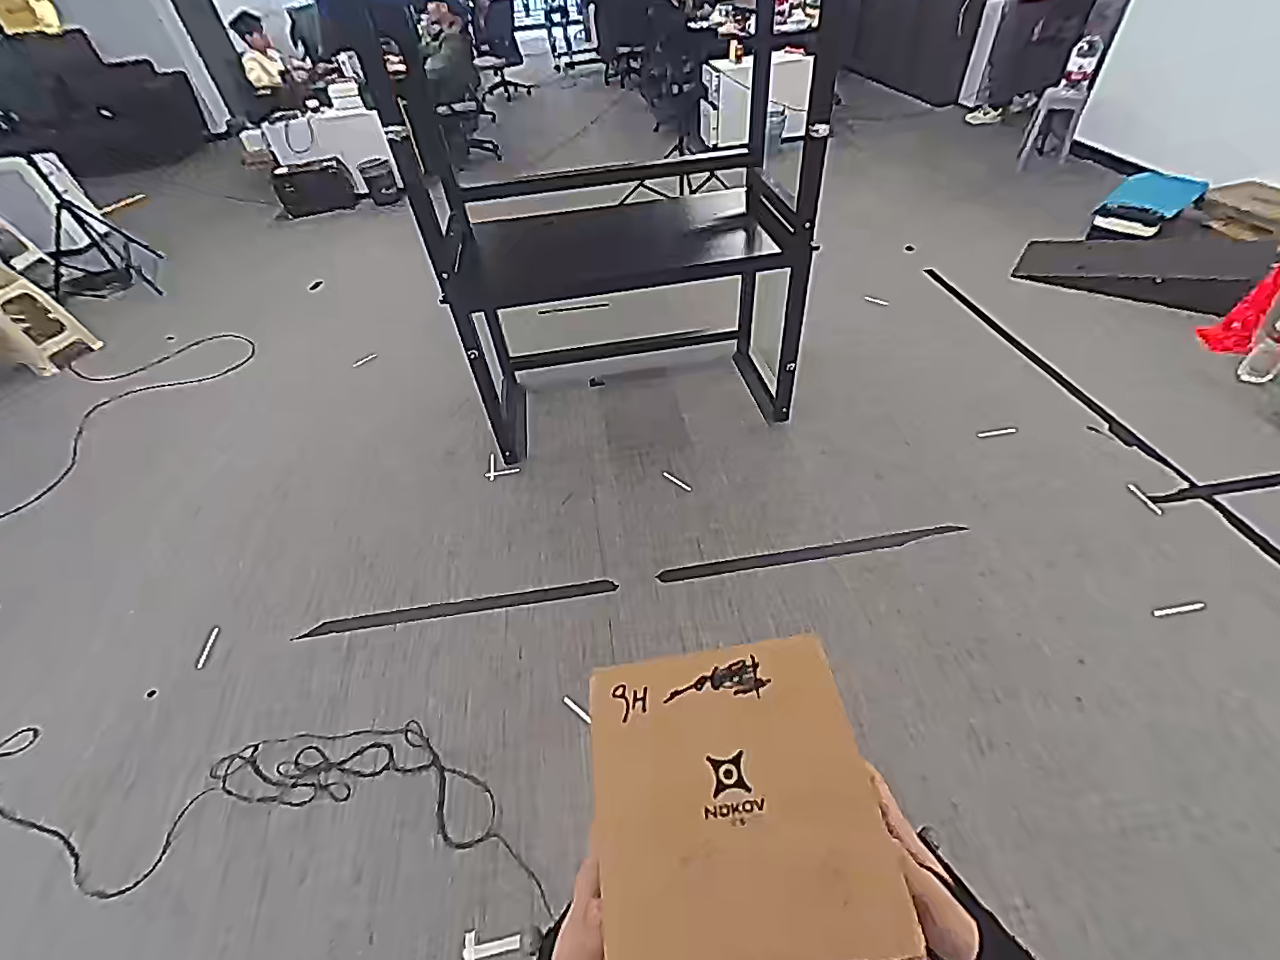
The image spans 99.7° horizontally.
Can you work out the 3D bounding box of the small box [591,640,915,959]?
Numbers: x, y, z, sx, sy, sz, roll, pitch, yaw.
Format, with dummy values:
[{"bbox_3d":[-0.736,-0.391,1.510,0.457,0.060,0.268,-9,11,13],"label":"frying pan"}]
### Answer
[{"bbox_3d":[0.063,0.240,0.392,0.168,0.176,0.179,-9,52,0],"label":"small box"}]
